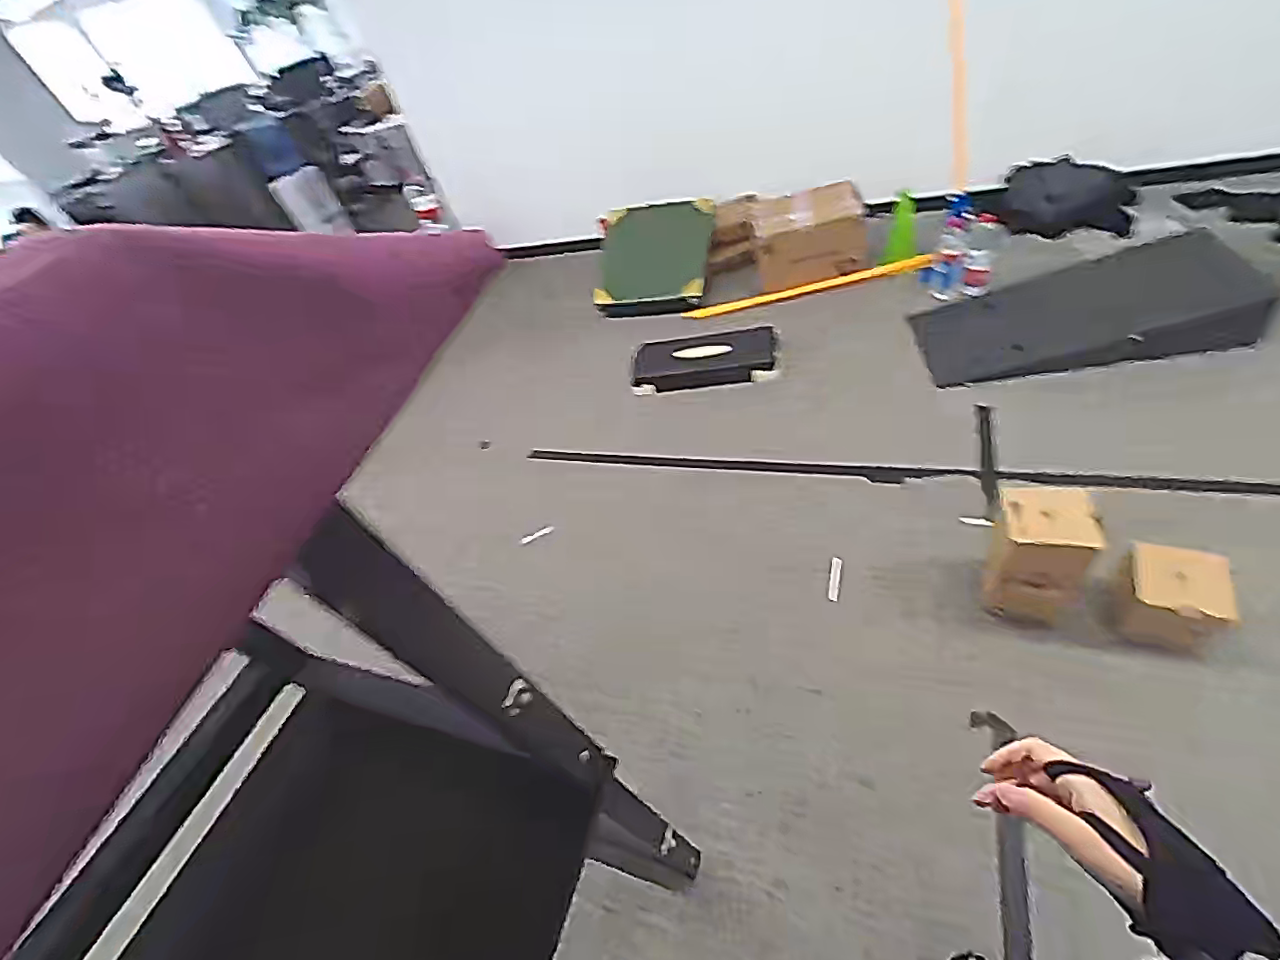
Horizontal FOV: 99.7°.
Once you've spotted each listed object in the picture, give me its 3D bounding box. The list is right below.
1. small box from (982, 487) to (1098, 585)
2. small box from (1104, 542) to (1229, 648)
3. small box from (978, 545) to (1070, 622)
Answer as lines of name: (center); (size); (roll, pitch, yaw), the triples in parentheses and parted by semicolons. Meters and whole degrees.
small box: (0.954, 0.137, 1.306); (0.179, 0.176, 0.168); (3, 49, 21)
small box: (1.254, 0.279, 1.303); (0.168, 0.176, 0.179); (10, 52, 26)
small box: (0.998, 0.249, 1.419); (0.168, 0.176, 0.179); (7, 50, 24)
